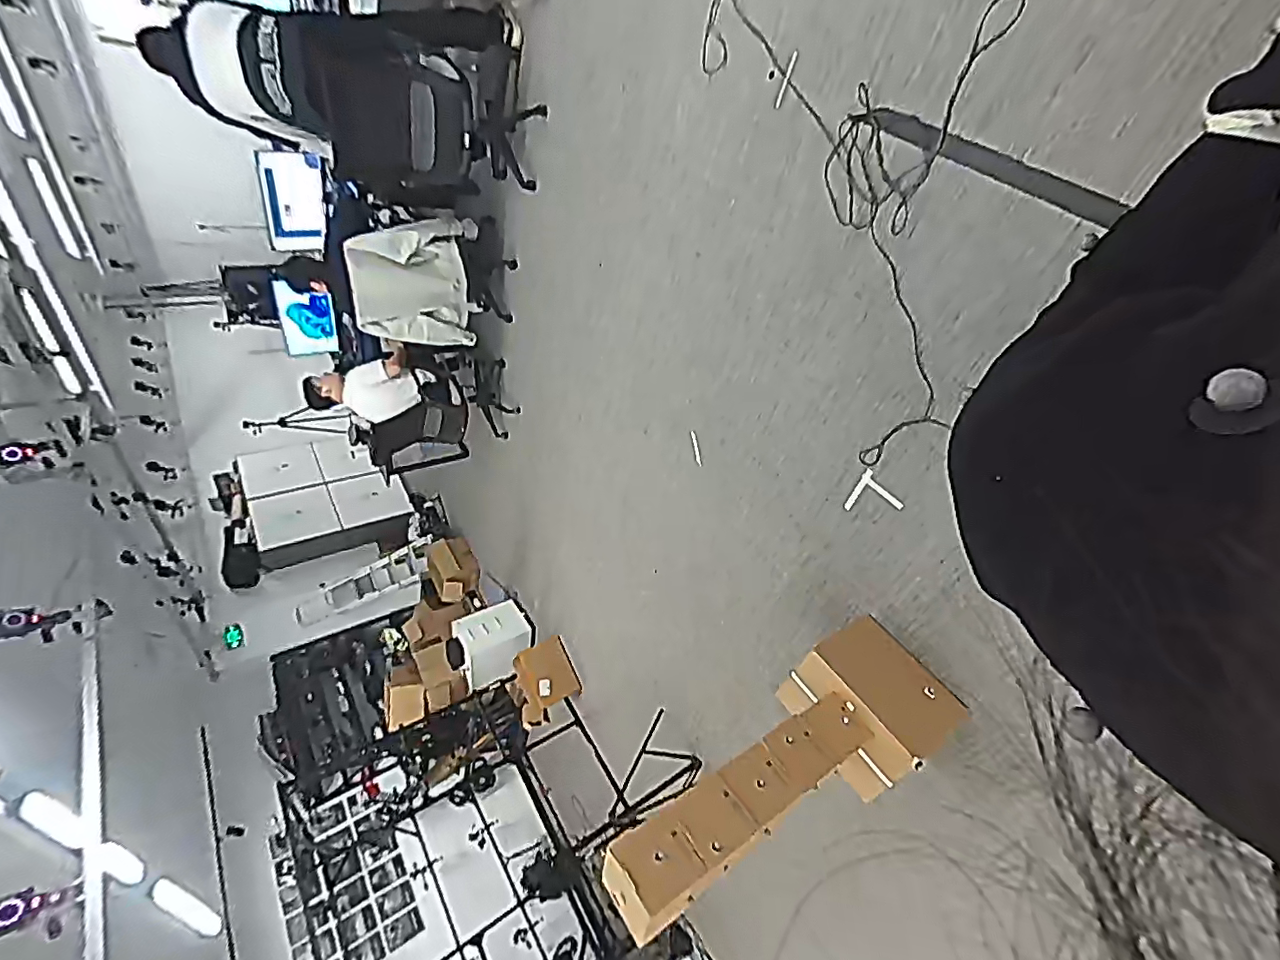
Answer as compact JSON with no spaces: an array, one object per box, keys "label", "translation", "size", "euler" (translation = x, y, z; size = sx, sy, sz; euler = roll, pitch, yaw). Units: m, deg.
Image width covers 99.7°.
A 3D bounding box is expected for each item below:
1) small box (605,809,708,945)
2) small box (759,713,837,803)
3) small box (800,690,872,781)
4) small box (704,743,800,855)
[{"label":"small box","translation":[0.040,0.925,1.274],"size":[0.168,0.176,0.179],"euler":[41,134,40]},{"label":"small box","translation":[0.433,0.806,1.546],"size":[0.168,0.176,0.179],"euler":[48,140,35]},{"label":"small box","translation":[0.564,0.774,1.636],"size":[0.168,0.176,0.179],"euler":[48,138,33]},{"label":"small box","translation":[0.303,0.851,1.456],"size":[0.168,0.176,0.179],"euler":[45,137,38]}]
